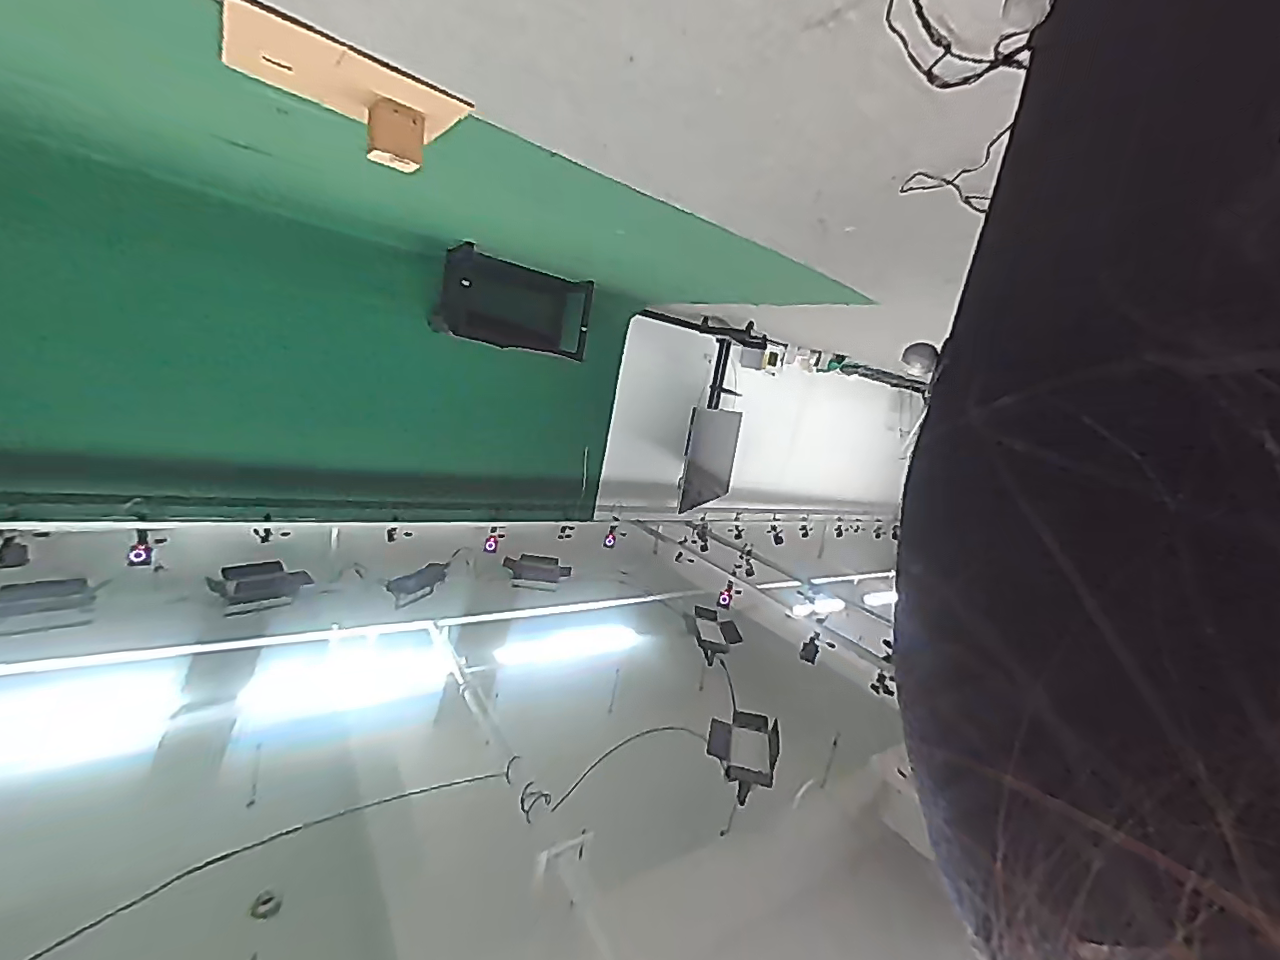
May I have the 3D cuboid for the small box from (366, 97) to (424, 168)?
[{"bbox_3d":[-0.938,-1.329,2.068,0.168,0.176,0.179,1,-165,-40],"label":"small box"}]
